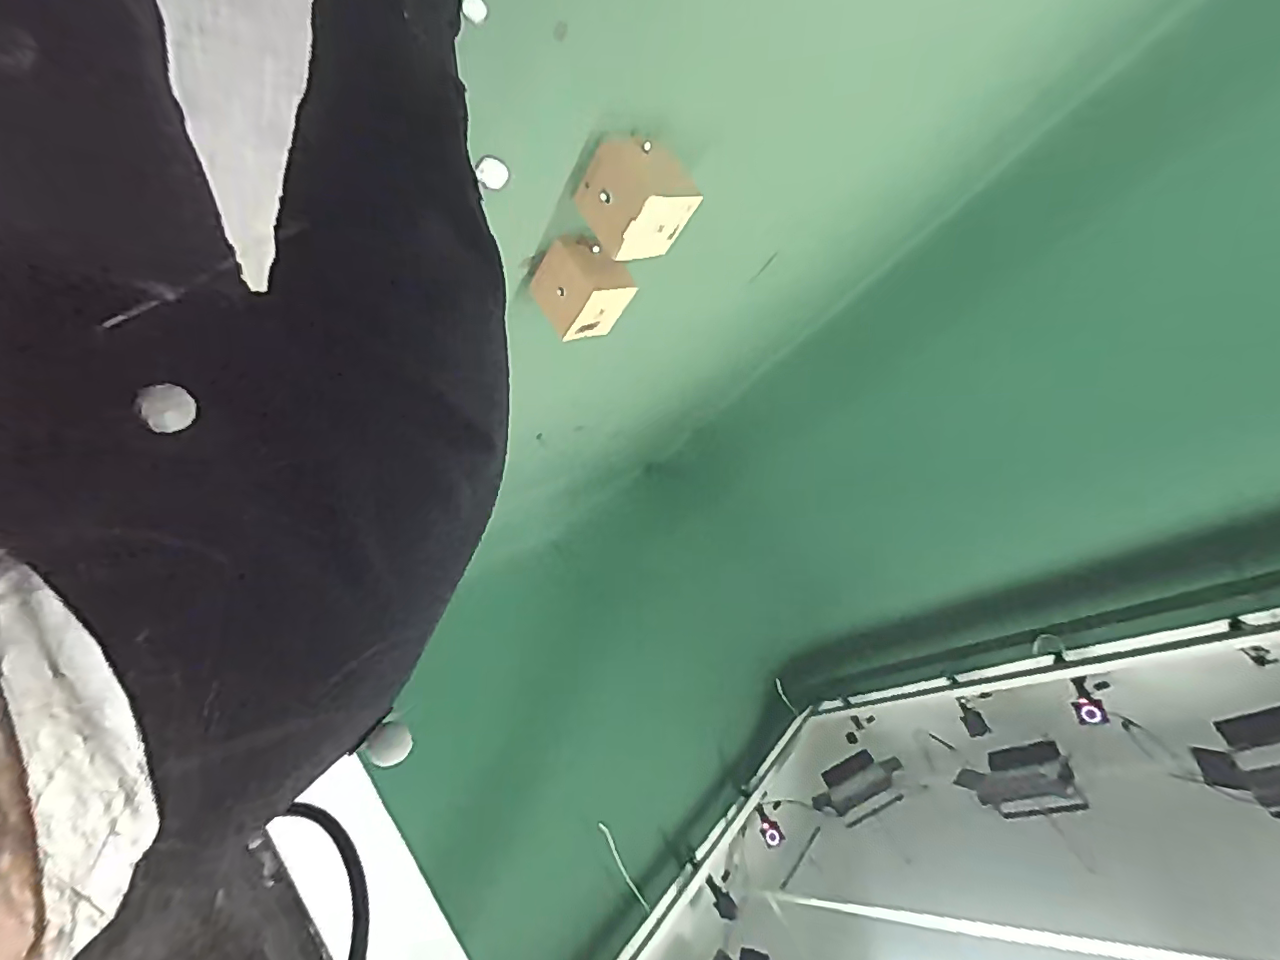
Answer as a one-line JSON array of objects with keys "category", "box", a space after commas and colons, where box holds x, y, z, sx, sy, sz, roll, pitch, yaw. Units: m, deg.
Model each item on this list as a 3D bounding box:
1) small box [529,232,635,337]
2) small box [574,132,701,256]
[{"category": "small box", "box": [-0.151, -0.487, 1.349, 0.168, 0.176, 0.179, -26, 170, -44]}, {"category": "small box", "box": [-0.011, -0.607, 1.156, 0.179, 0.176, 0.168, -26, 170, -41]}]
